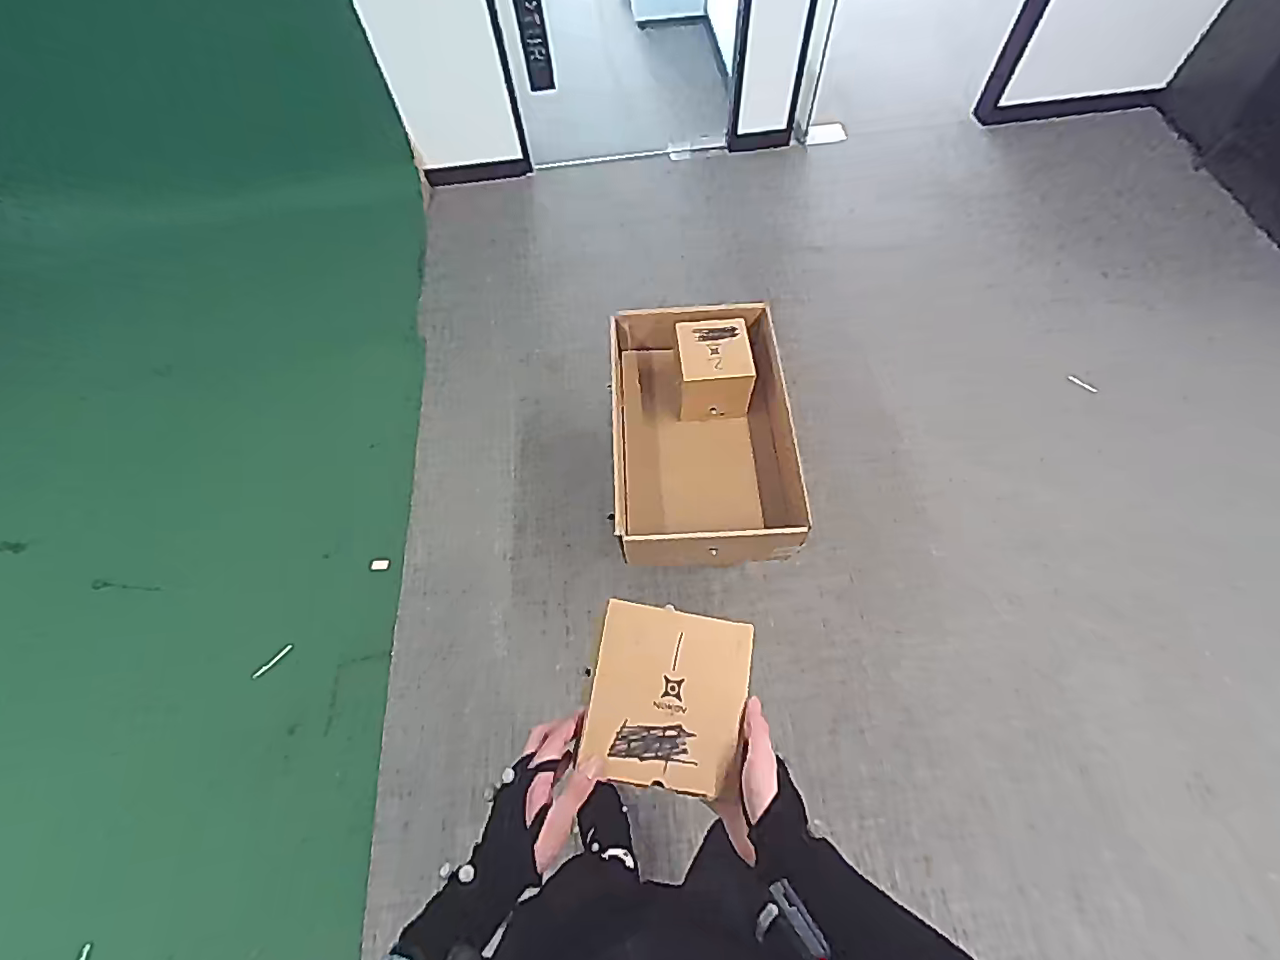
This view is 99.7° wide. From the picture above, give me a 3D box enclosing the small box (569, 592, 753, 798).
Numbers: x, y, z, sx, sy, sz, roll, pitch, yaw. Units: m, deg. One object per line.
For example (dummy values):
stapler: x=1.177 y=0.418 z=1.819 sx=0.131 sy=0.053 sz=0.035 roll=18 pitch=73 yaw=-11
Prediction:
small box: x=0.017 y=0.239 z=0.629 sx=0.168 sy=0.176 sz=0.179 roll=13 pitch=72 yaw=-5
